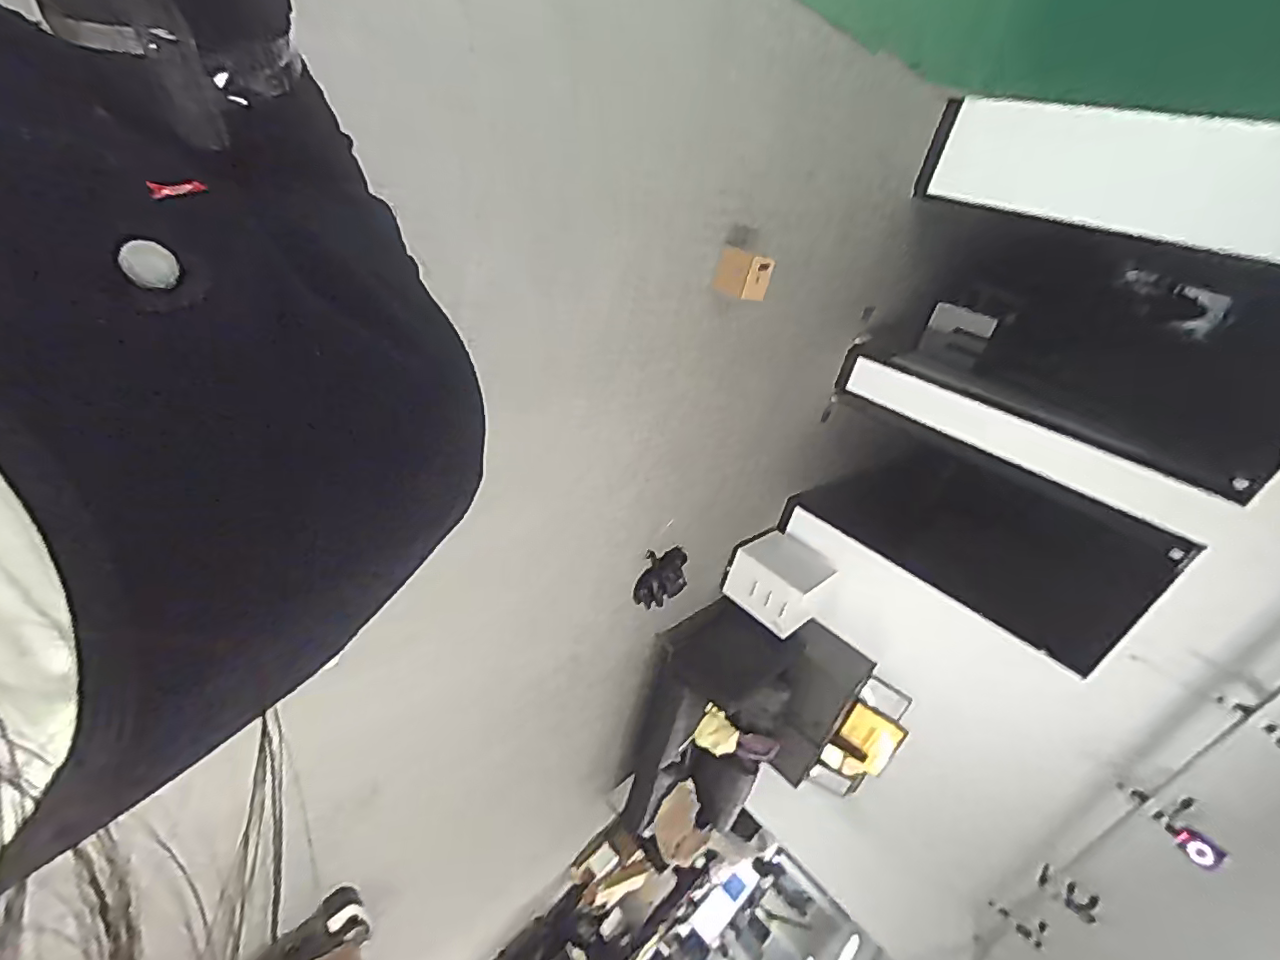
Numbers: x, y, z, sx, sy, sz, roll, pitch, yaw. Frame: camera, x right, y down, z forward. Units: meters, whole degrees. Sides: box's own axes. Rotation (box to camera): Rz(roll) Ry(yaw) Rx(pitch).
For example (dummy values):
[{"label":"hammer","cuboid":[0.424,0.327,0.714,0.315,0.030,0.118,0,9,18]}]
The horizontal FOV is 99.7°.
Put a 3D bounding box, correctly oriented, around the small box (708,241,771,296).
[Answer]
[{"label":"small box","cuboid":[0.408,-0.879,2.248,0.168,0.176,0.179,-15,130,-44]}]
